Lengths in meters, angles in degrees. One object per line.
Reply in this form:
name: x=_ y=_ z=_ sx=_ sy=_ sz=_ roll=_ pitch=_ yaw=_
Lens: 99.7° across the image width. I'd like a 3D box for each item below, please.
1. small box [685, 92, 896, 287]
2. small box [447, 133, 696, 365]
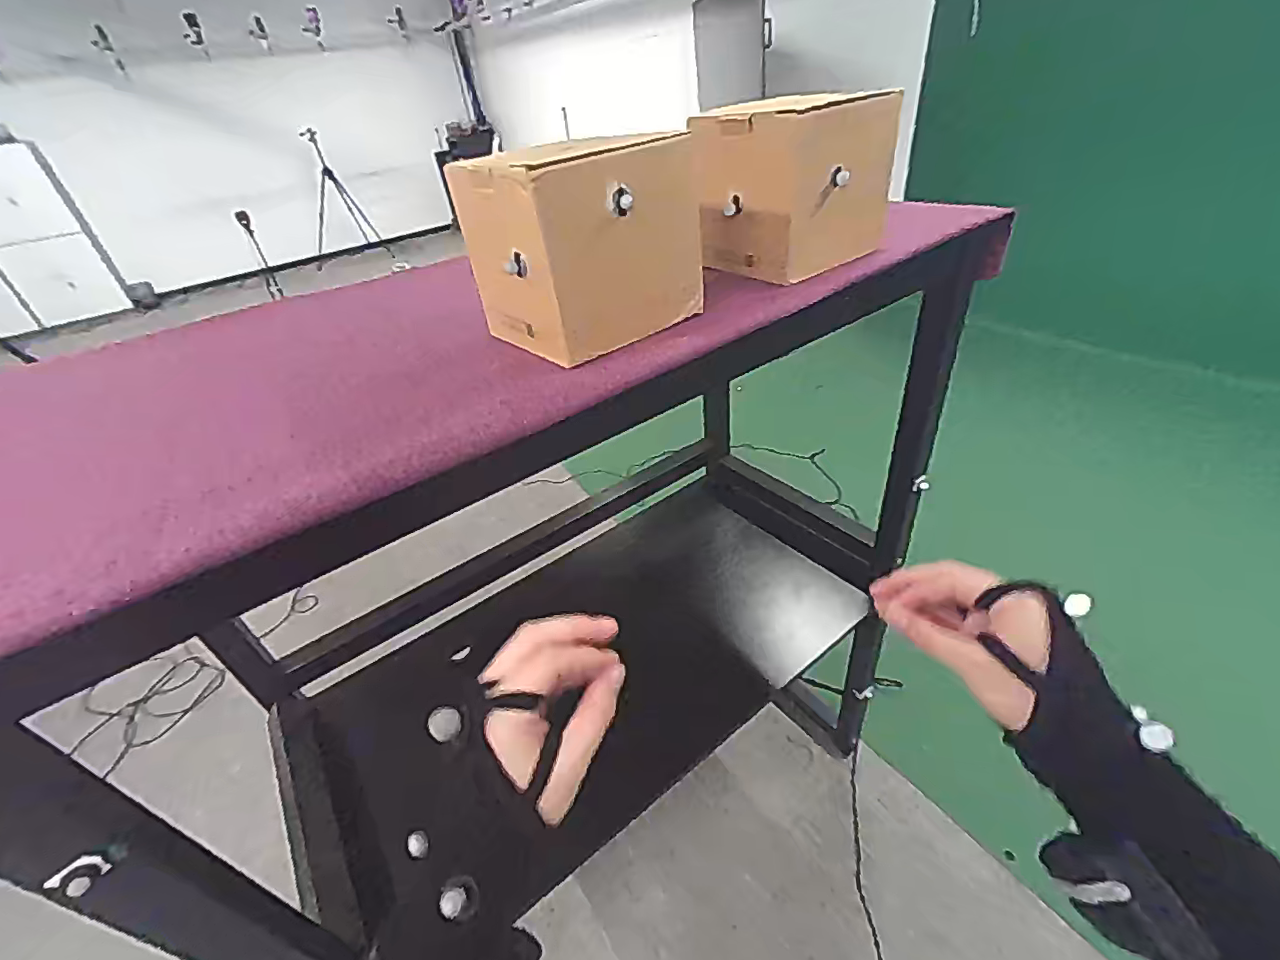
small box: x=0.177 y=-0.350 z=0.656 sx=0.179 sy=0.176 sz=0.168 roll=-29 pitch=42 yaw=-24
small box: x=-0.058 y=-0.231 z=0.540 sx=0.179 sy=0.176 sz=0.168 roll=-29 pitch=40 yaw=-27
